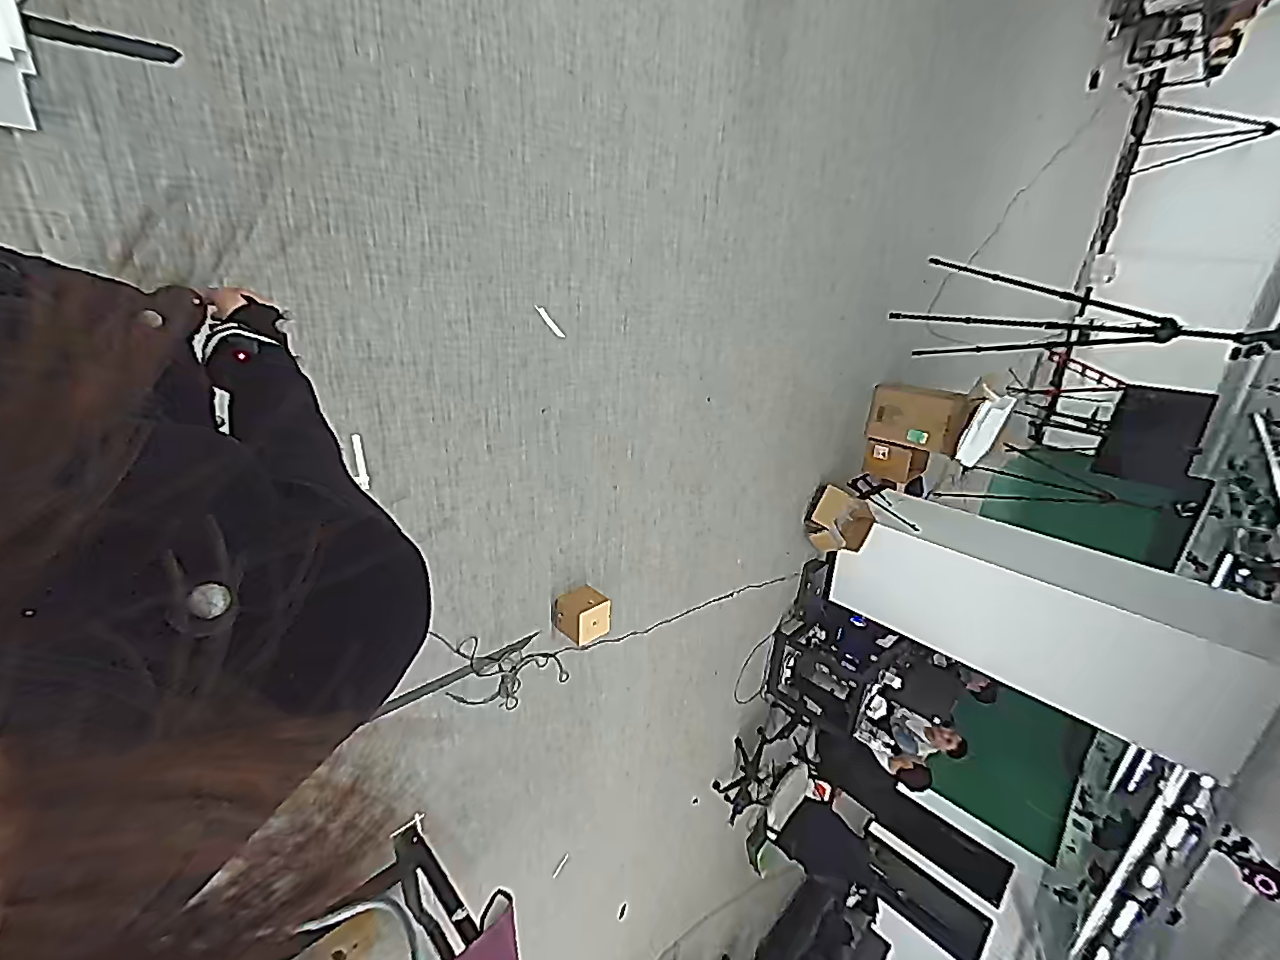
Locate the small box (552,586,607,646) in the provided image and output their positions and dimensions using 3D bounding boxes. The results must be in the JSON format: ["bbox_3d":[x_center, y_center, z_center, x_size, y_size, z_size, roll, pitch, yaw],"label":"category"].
[{"bbox_3d":[-0.267,0.592,2.377,0.179,0.176,0.168,-16,118,-43],"label":"small box"}]
